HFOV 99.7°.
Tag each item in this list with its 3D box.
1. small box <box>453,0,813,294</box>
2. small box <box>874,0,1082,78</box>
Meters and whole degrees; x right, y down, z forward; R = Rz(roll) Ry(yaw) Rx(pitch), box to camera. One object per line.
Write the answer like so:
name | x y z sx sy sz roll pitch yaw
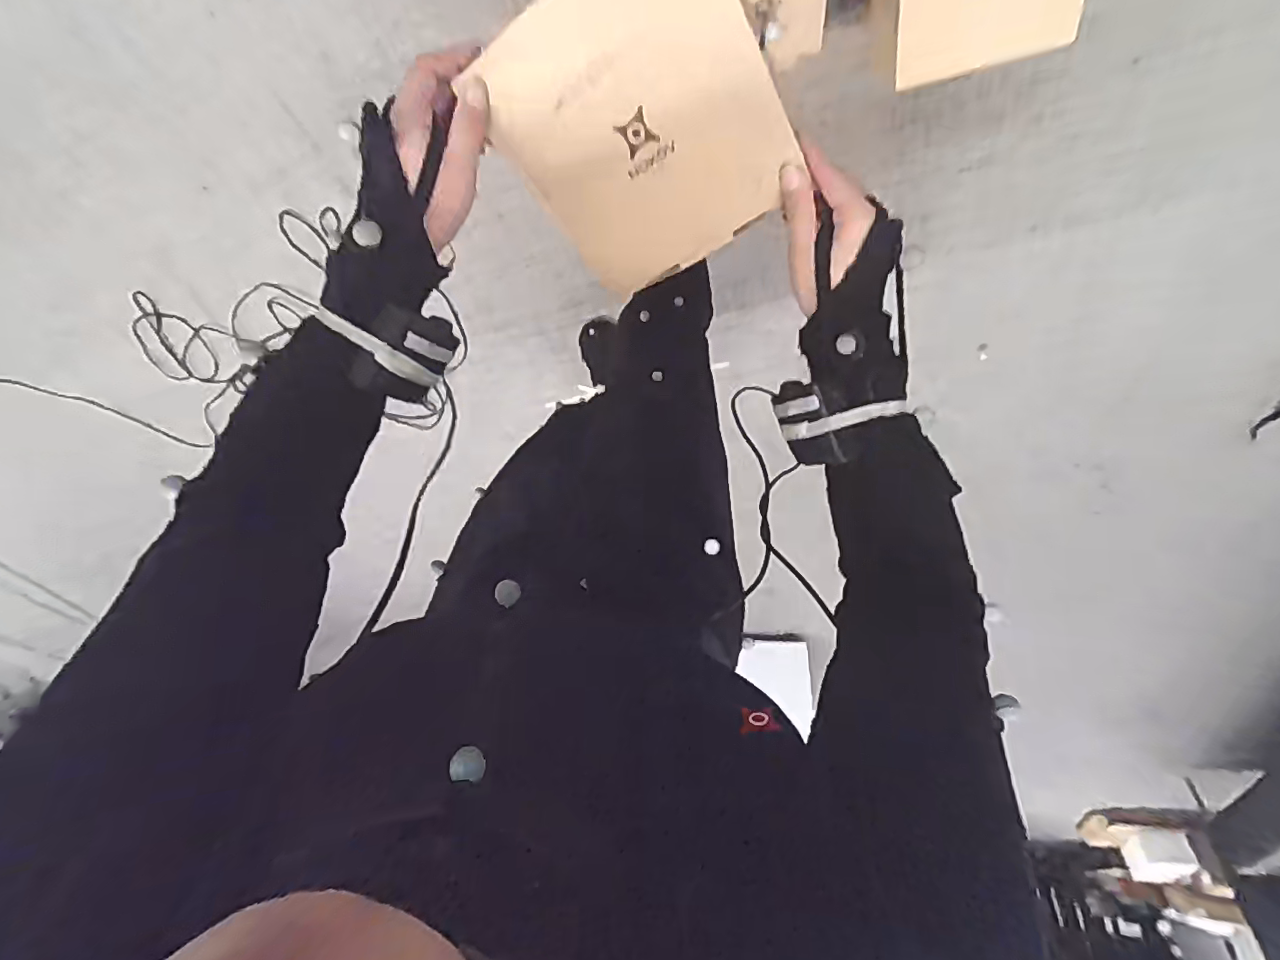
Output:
small box | 0.007 -0.280 0.388 0.168 0.176 0.179 -22 133 29
small box | 0.338 -0.551 0.546 0.168 0.176 0.179 -6 136 17
